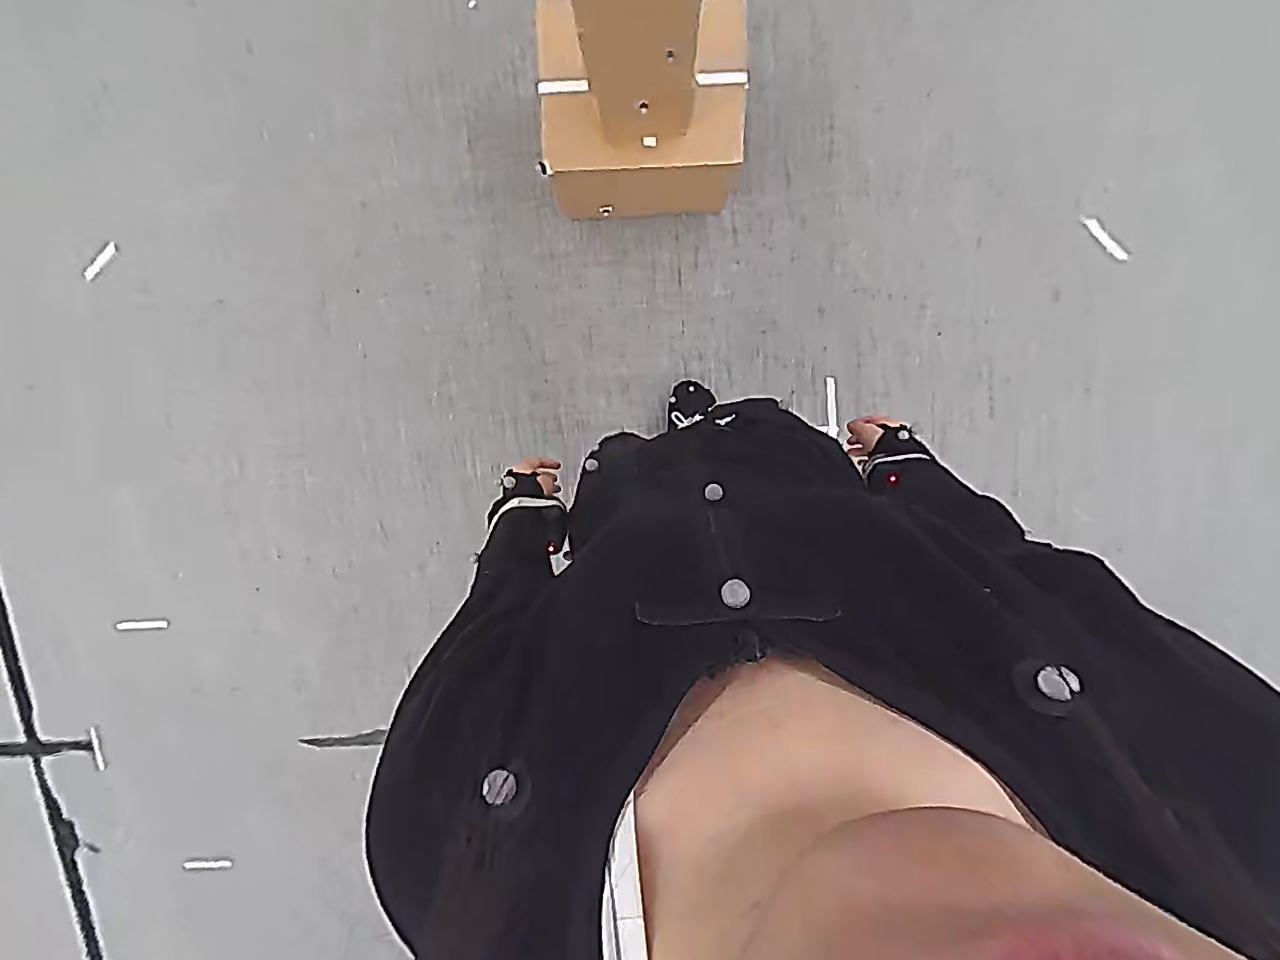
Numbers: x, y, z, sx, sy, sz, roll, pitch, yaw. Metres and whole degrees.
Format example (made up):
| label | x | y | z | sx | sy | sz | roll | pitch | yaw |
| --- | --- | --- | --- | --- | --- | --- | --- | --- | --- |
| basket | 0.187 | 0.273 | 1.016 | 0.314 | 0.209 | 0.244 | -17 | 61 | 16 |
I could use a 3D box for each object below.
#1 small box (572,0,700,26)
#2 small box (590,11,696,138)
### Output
| label | x | y | z | sx | sy | sz | roll | pitch | yaw |
| --- | --- | --- | --- | --- | --- | --- | --- | --- | --- |
| small box | -0.003 | -0.697 | 0.659 | 0.179 | 0.176 | 0.168 | 0 | 99 | 1 |
| small box | 0.007 | -0.749 | 0.984 | 0.179 | 0.176 | 0.168 | -4 | 100 | 1 |
